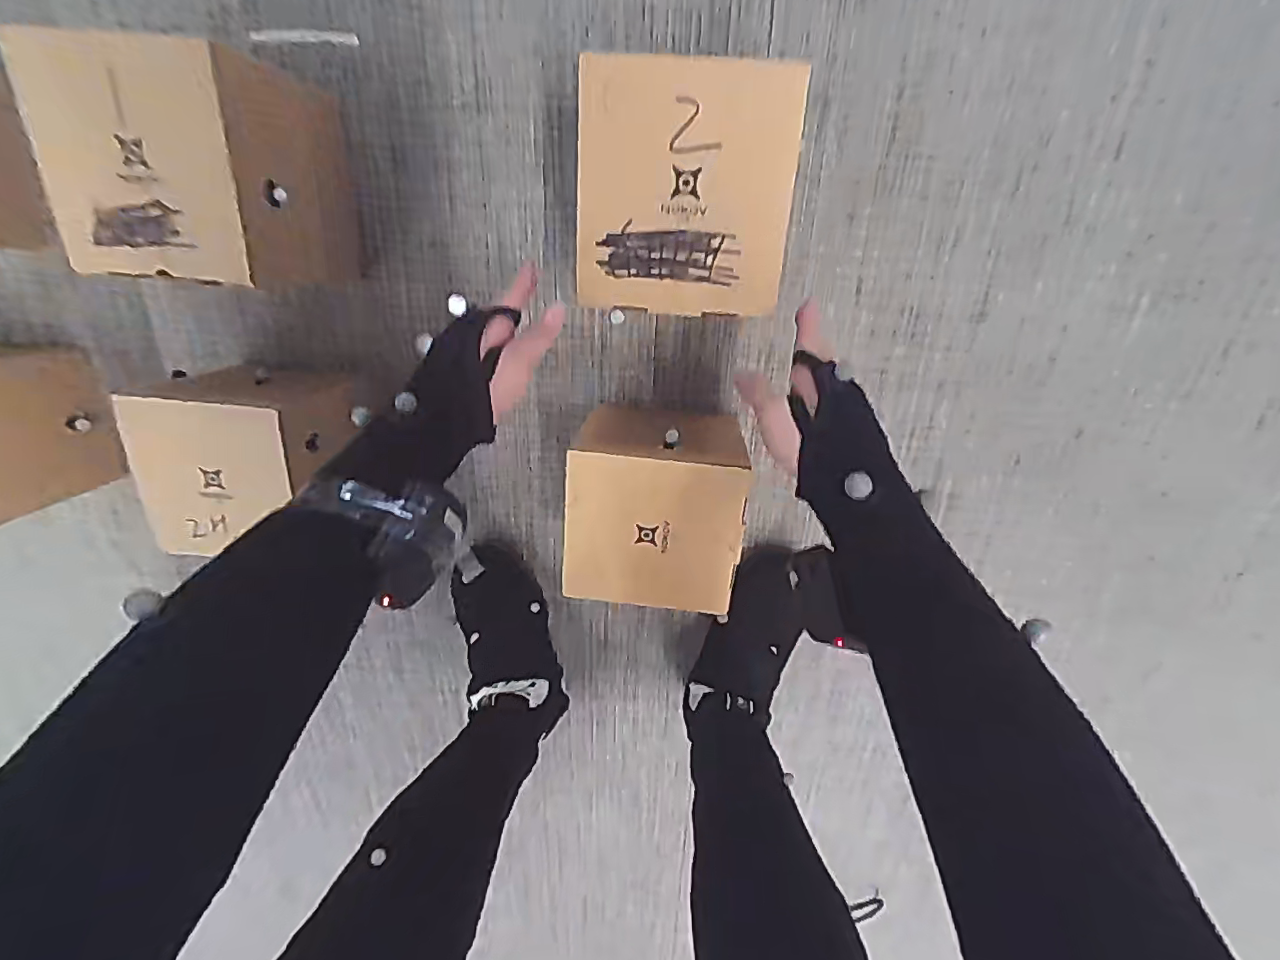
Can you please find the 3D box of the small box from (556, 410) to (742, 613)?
[{"bbox_3d":[0.009,0.024,0.607,0.179,0.176,0.168,5,113,2],"label":"small box"}]

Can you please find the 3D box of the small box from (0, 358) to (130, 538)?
[{"bbox_3d":[-0.779,-0.048,0.643,0.168,0.176,0.179,4,112,4],"label":"small box"}]
